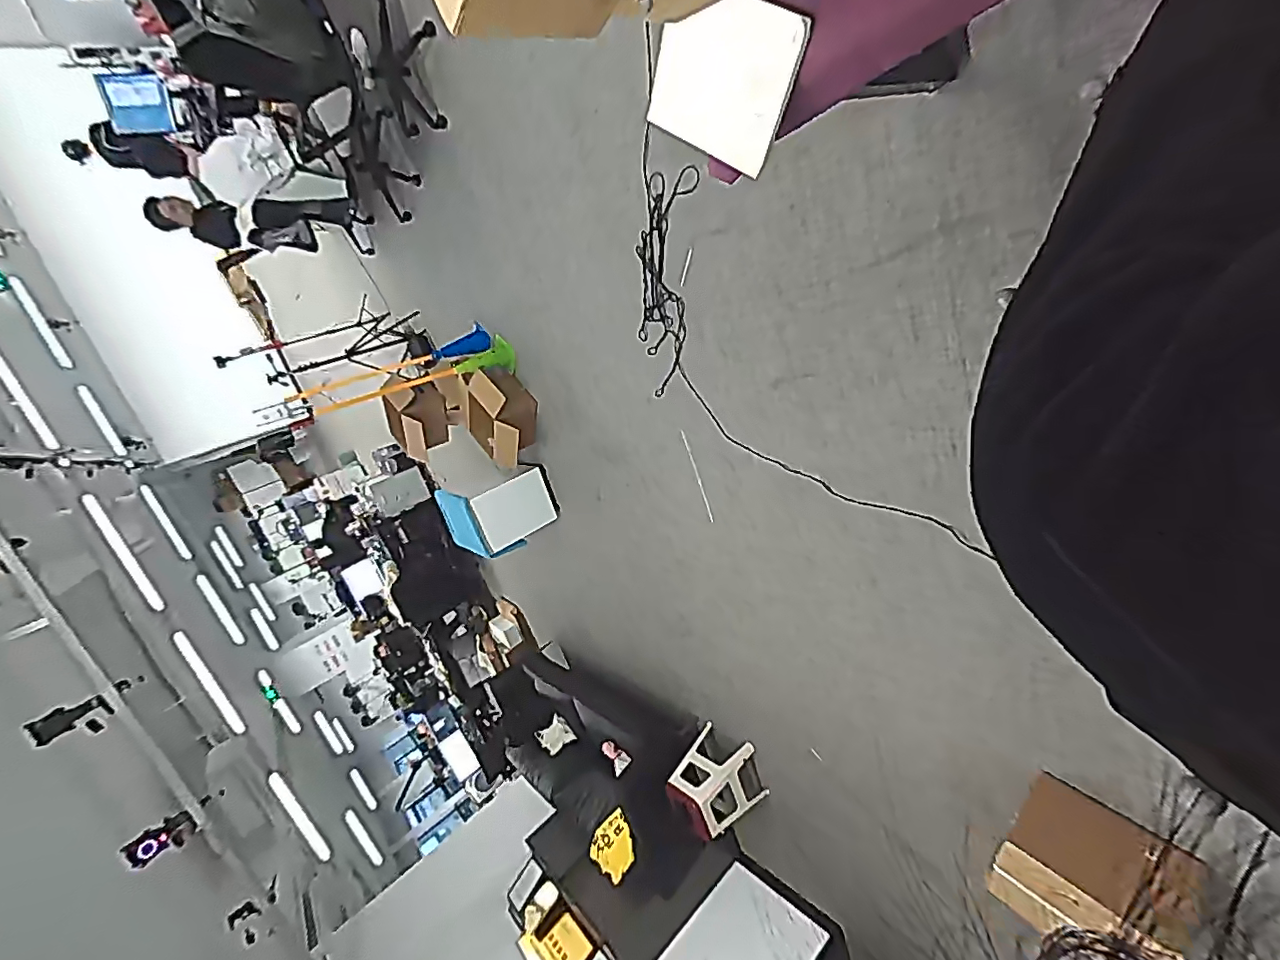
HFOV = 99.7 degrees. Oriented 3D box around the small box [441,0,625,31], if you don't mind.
[{"bbox_3d":[-0.092,-0.518,0.448,0.168,0.176,0.179,-10,107,57],"label":"small box"}]
